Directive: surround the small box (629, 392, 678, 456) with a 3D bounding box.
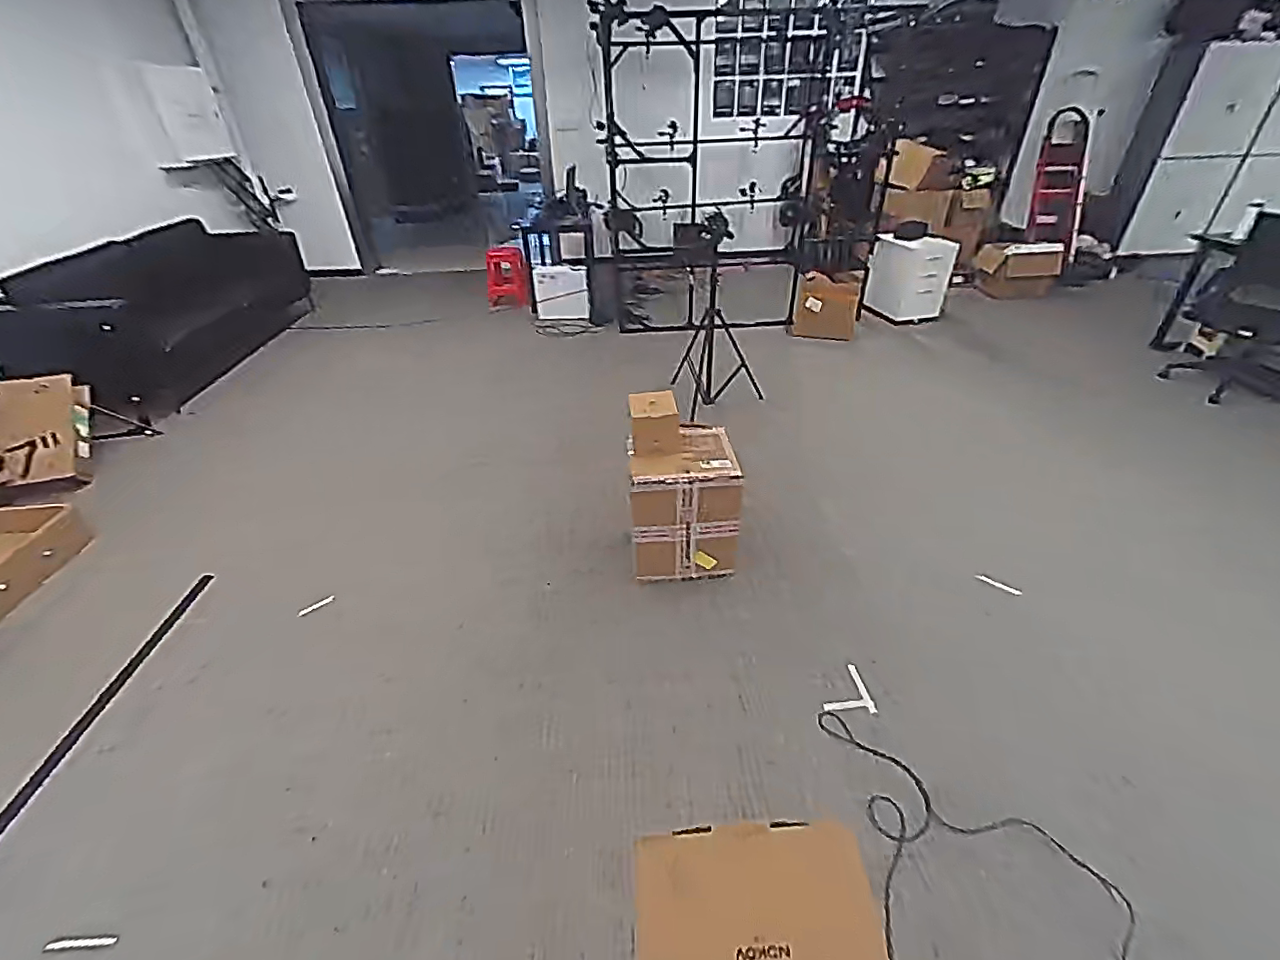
[{"bbox_3d":[0.048,-0.207,1.994,0.168,0.176,0.179,-5,38,-2],"label":"small box"}]
